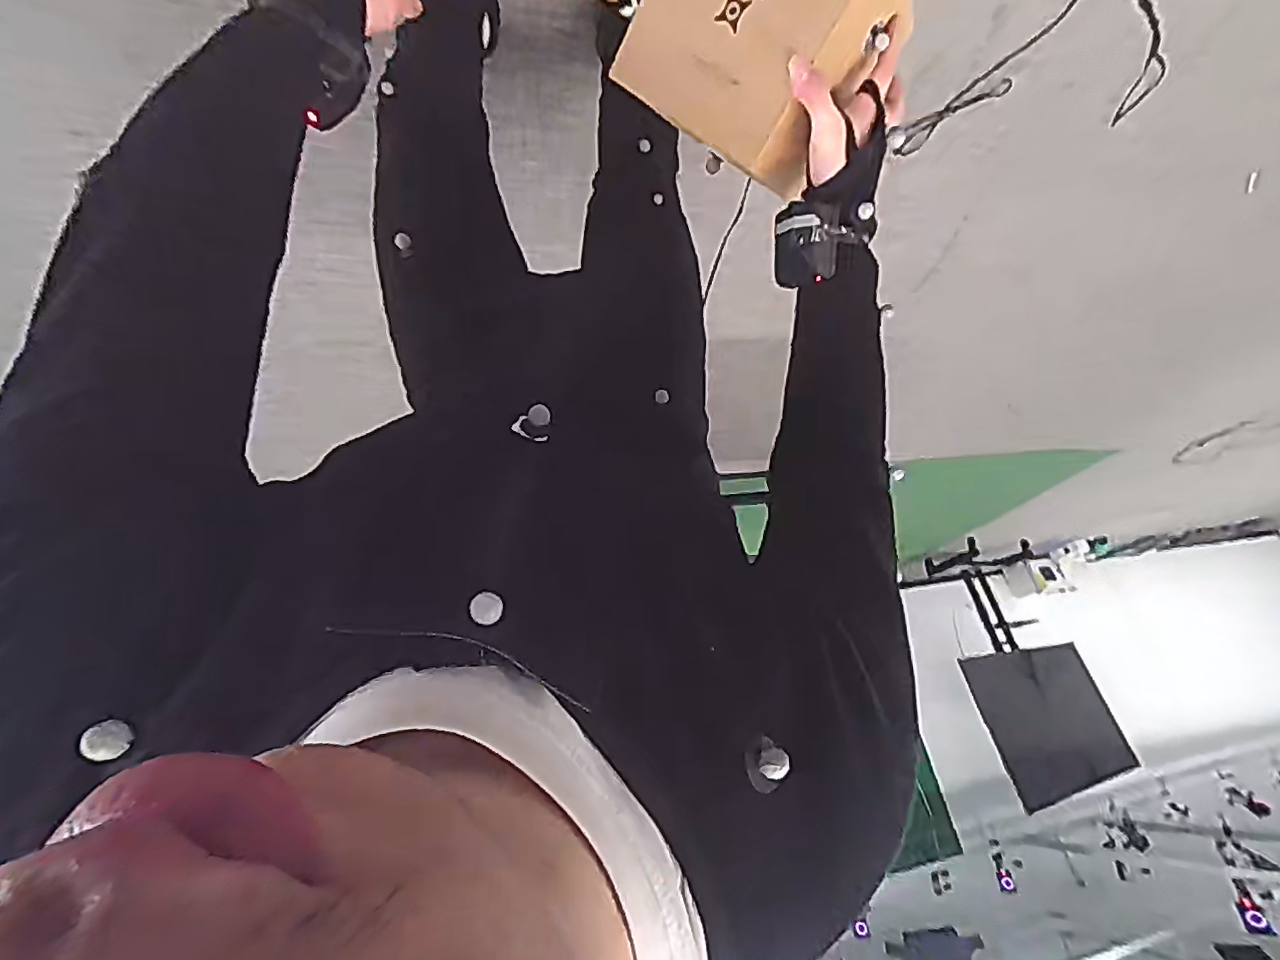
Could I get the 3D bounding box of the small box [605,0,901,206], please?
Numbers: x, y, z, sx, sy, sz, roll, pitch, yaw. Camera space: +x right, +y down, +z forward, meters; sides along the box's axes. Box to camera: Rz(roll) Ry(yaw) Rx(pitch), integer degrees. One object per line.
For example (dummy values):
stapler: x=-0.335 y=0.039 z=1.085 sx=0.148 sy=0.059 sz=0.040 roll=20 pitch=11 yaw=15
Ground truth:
small box: x=0.108 y=-0.383 z=0.481 sx=0.179 sy=0.168 sz=0.176 roll=-53 pitch=164 yaw=28
